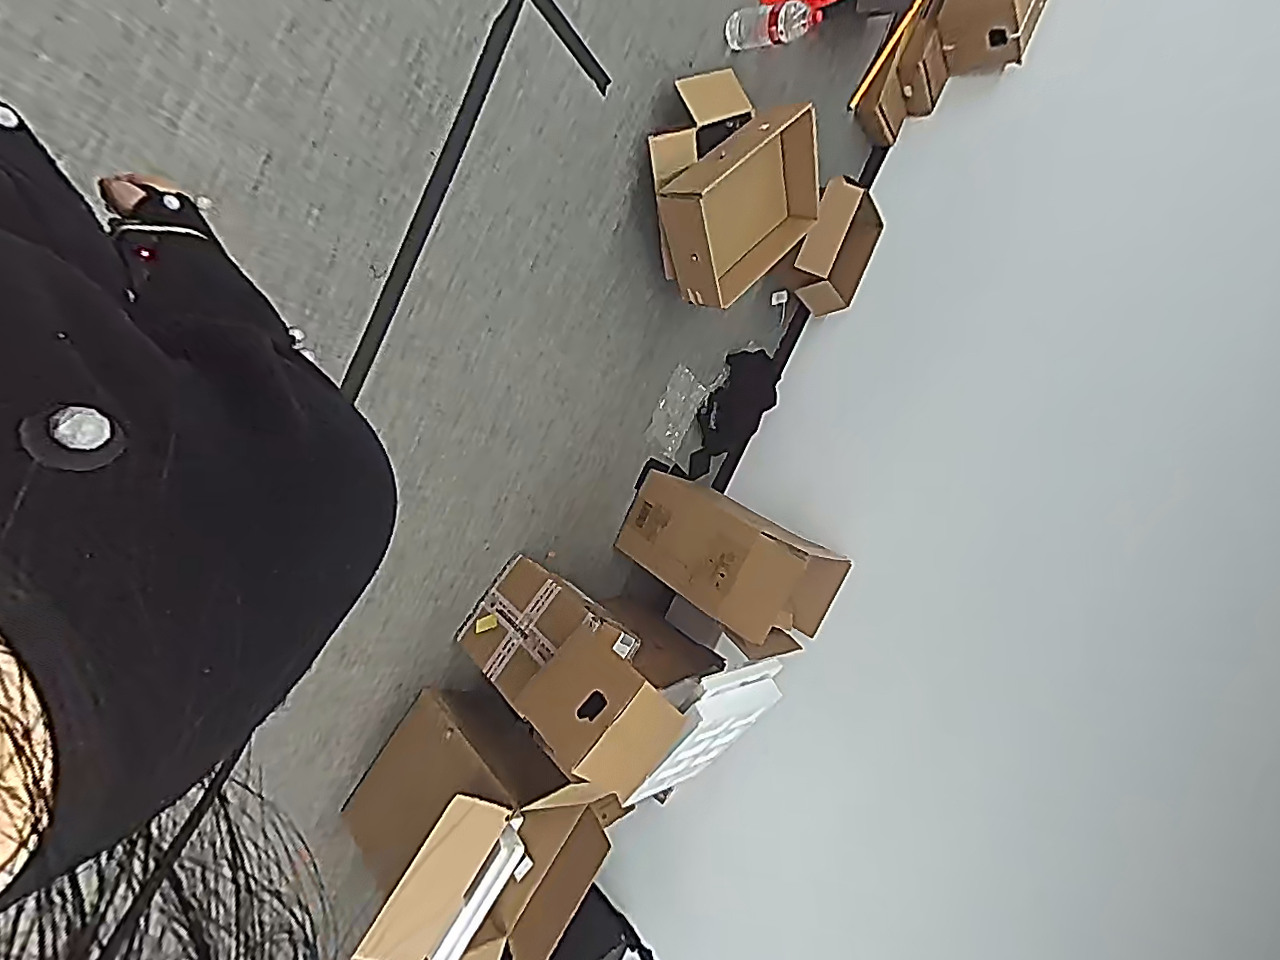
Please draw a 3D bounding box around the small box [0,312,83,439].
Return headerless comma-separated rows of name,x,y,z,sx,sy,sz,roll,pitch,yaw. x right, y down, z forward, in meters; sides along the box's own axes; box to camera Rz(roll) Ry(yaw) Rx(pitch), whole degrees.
small box,-1.118,-0.181,0.930,0.168,0.176,0.179,-27,132,-36
